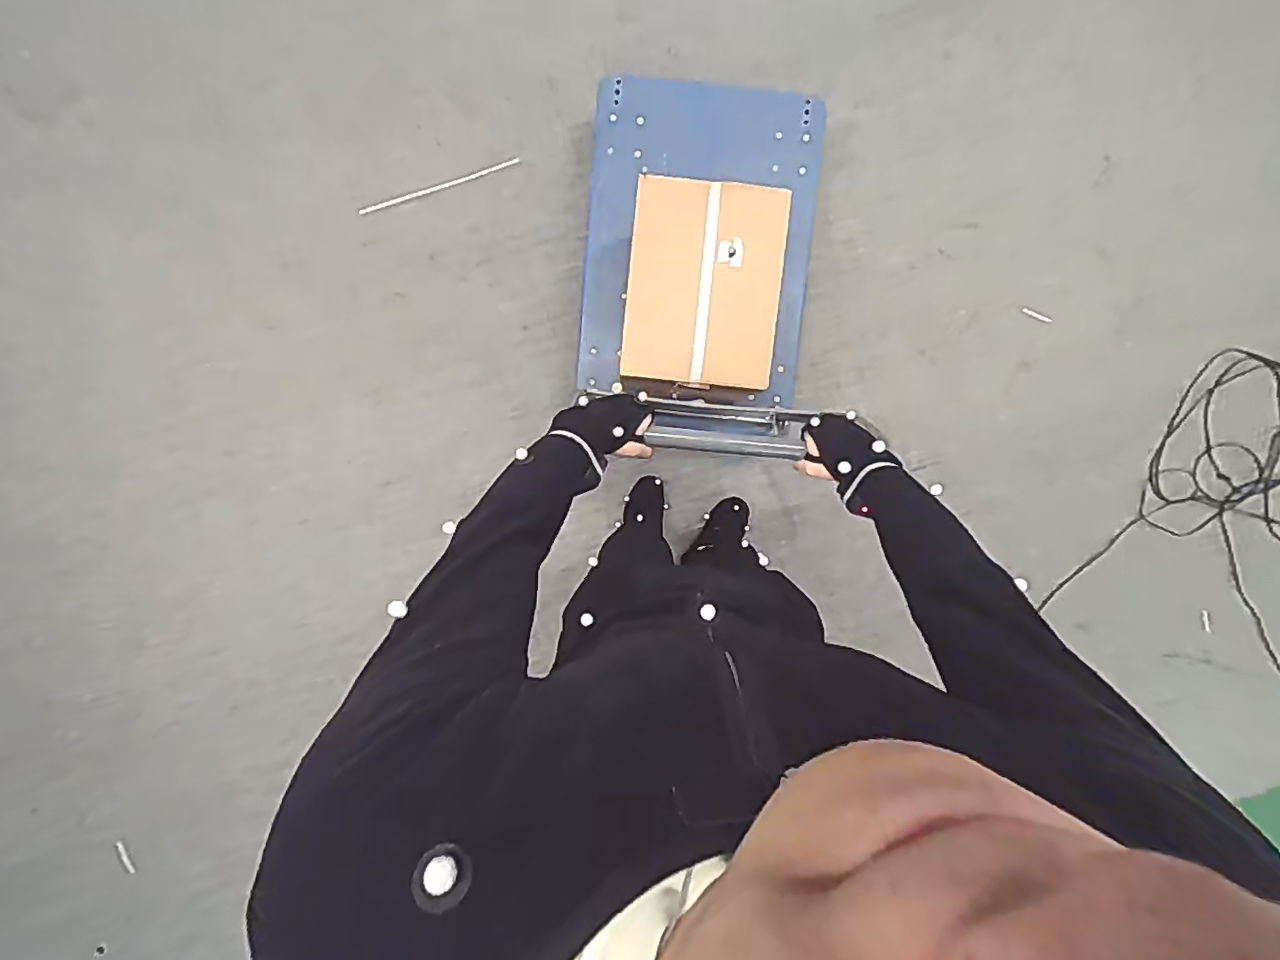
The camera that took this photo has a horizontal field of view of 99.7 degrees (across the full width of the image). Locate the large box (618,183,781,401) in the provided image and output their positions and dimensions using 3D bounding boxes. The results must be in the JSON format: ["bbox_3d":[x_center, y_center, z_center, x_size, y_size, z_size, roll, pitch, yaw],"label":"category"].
[{"bbox_3d":[0.123,-0.408,1.269,0.320,0.320,0.408,6,93,-1],"label":"large box"}]
